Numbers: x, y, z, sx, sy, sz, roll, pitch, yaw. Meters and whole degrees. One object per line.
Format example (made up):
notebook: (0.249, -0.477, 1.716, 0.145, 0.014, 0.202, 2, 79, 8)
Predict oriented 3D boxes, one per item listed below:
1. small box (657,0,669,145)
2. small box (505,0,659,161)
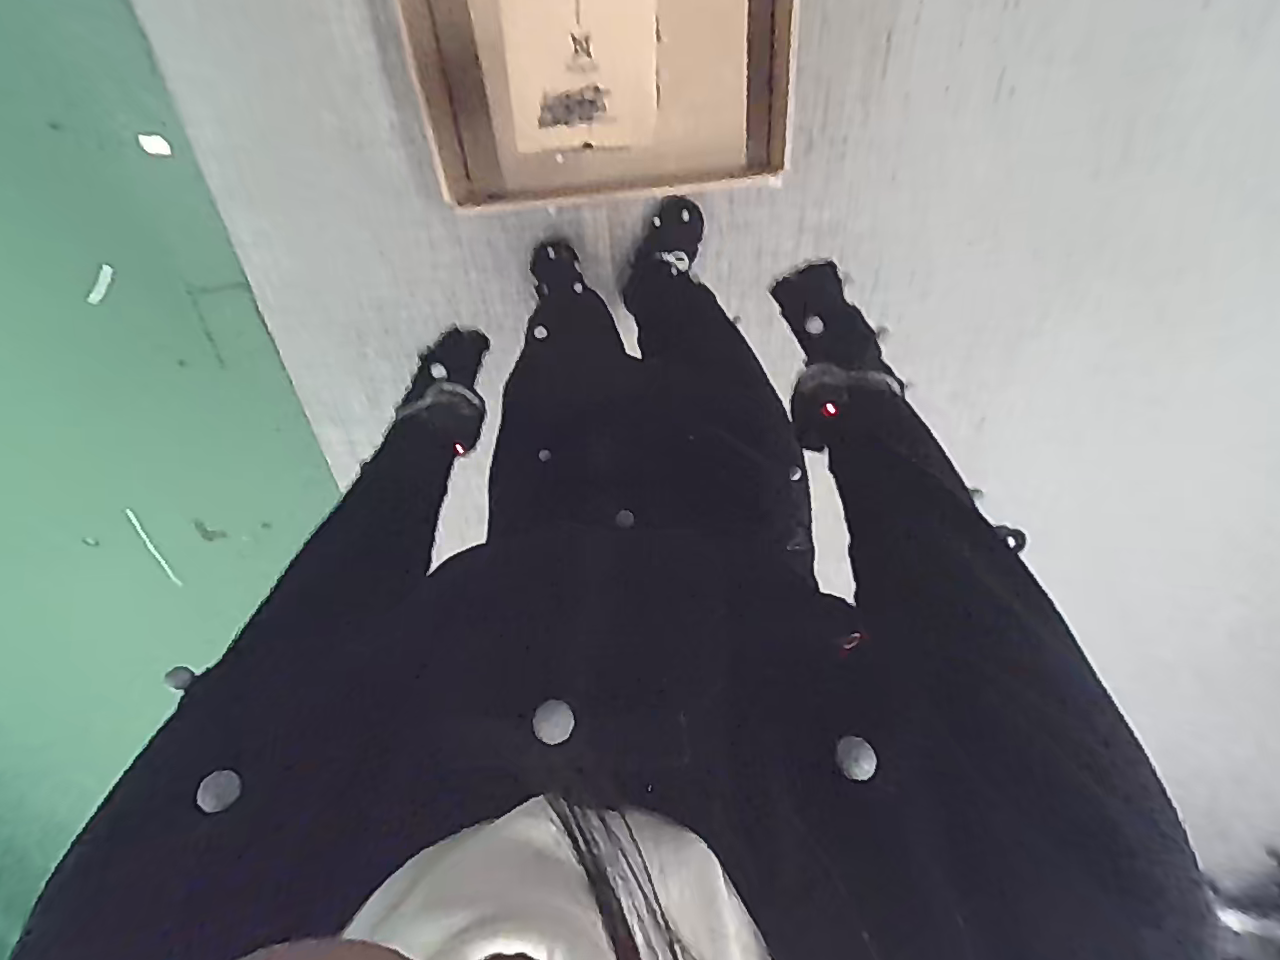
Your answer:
small box: (-0.053, -0.580, 0.790, 0.179, 0.176, 0.168, -5, 122, 3)
small box: (-0.060, -0.499, 0.666, 0.168, 0.176, 0.179, -1, 121, 1)
